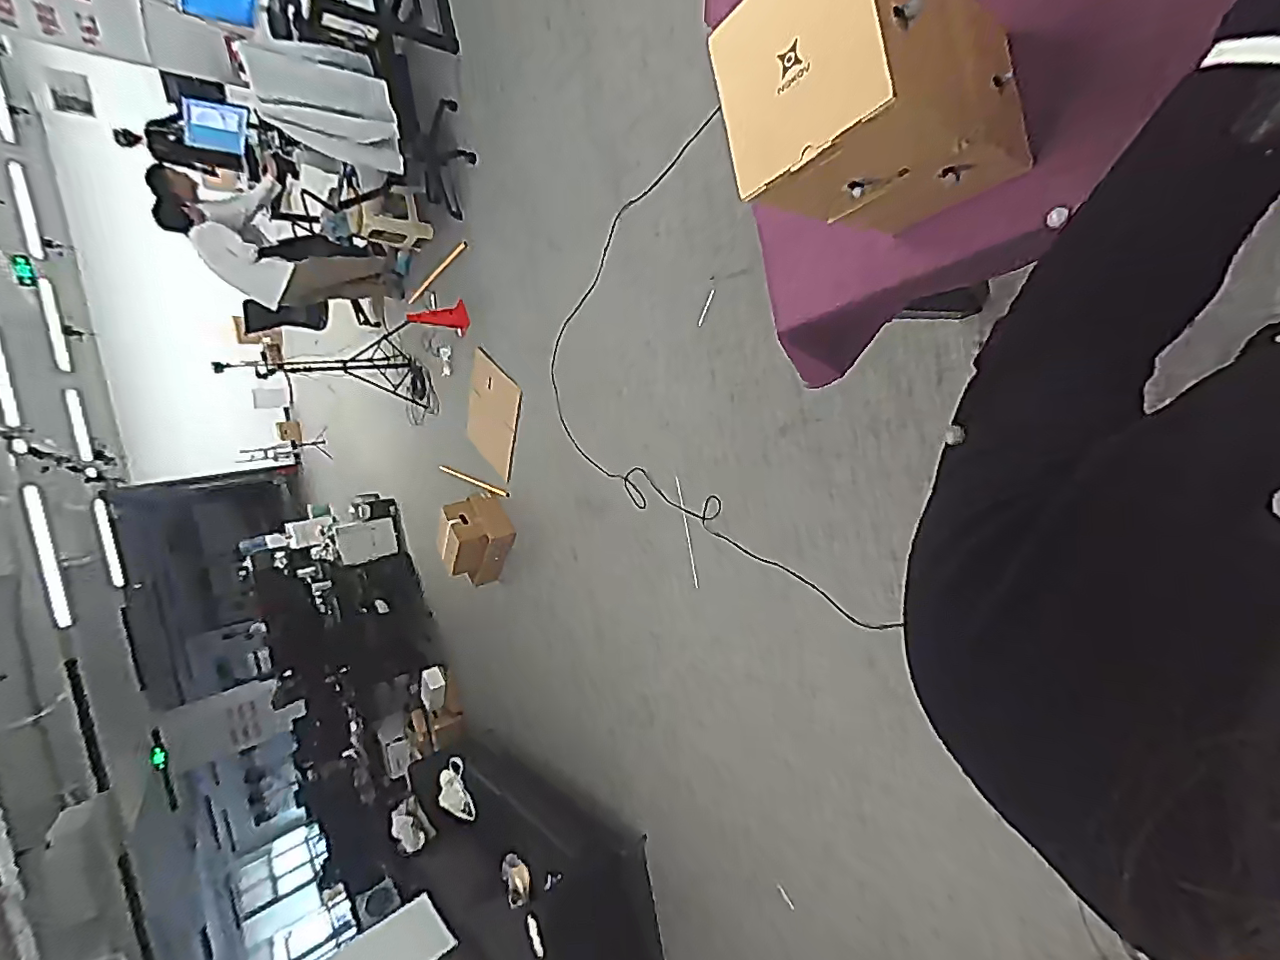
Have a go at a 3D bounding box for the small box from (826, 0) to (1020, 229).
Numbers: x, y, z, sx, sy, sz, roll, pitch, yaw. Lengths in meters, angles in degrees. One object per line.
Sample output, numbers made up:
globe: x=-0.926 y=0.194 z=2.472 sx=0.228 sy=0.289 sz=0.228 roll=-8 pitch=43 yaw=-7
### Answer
small box: x=0.331 y=-0.429 z=0.654 sx=0.179 sy=0.176 sz=0.168 roll=-11 pitch=91 yaw=51

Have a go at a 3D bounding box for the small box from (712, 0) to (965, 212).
small box: x=0.204 y=-0.404 z=0.555 sx=0.168 sy=0.176 sz=0.179 roll=-11 pitch=93 yaw=51
